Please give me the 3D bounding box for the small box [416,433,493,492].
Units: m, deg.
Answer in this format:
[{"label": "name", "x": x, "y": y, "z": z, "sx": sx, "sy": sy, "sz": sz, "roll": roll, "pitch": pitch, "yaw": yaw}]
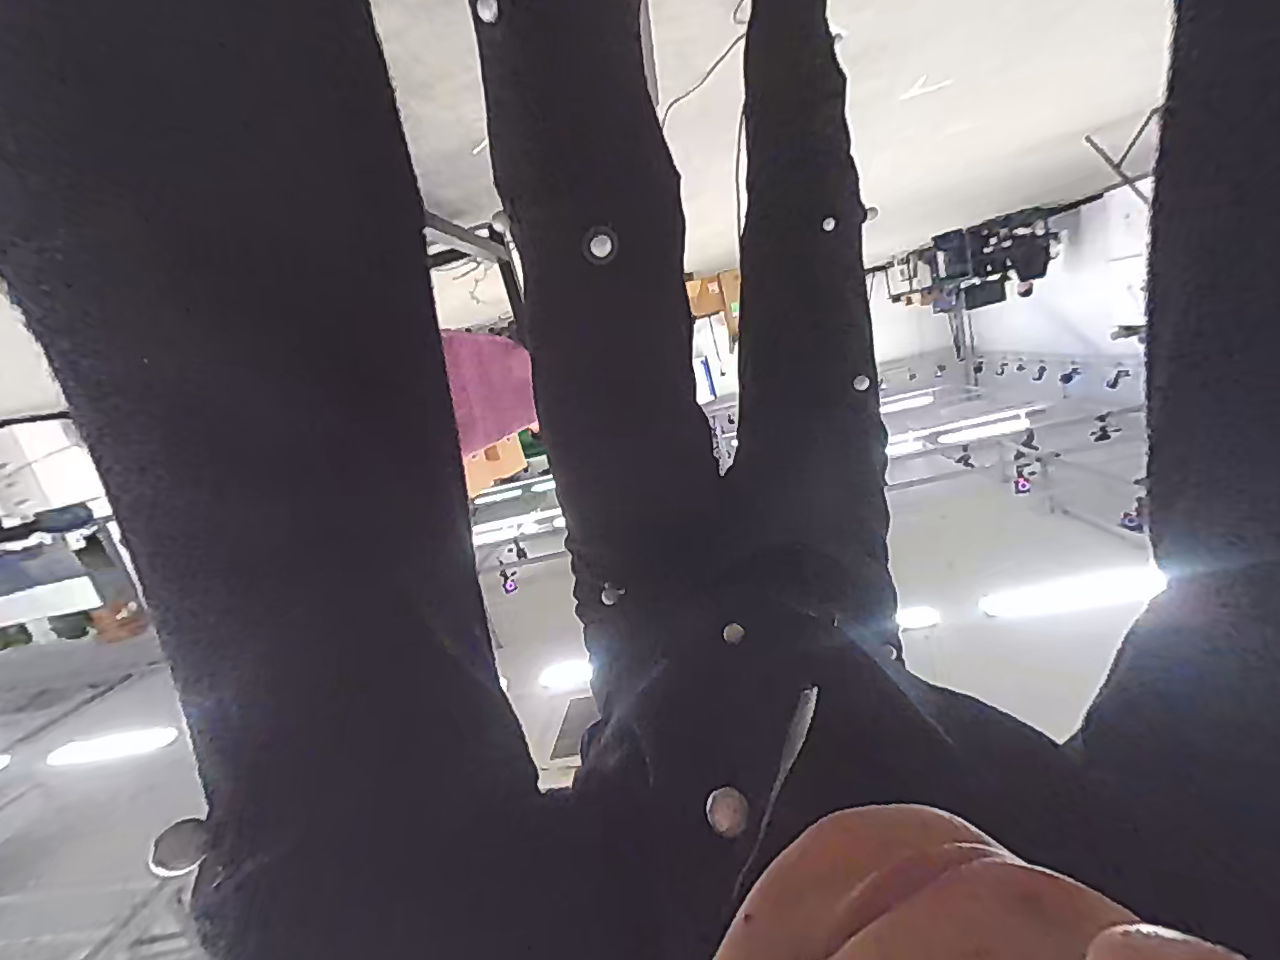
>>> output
[{"label": "small box", "x": -0.617, "y": -0.050, "z": 1.783, "sx": 0.179, "sy": 0.176, "sz": 0.168, "roll": -12, "pitch": -166, "yaw": 13}]
